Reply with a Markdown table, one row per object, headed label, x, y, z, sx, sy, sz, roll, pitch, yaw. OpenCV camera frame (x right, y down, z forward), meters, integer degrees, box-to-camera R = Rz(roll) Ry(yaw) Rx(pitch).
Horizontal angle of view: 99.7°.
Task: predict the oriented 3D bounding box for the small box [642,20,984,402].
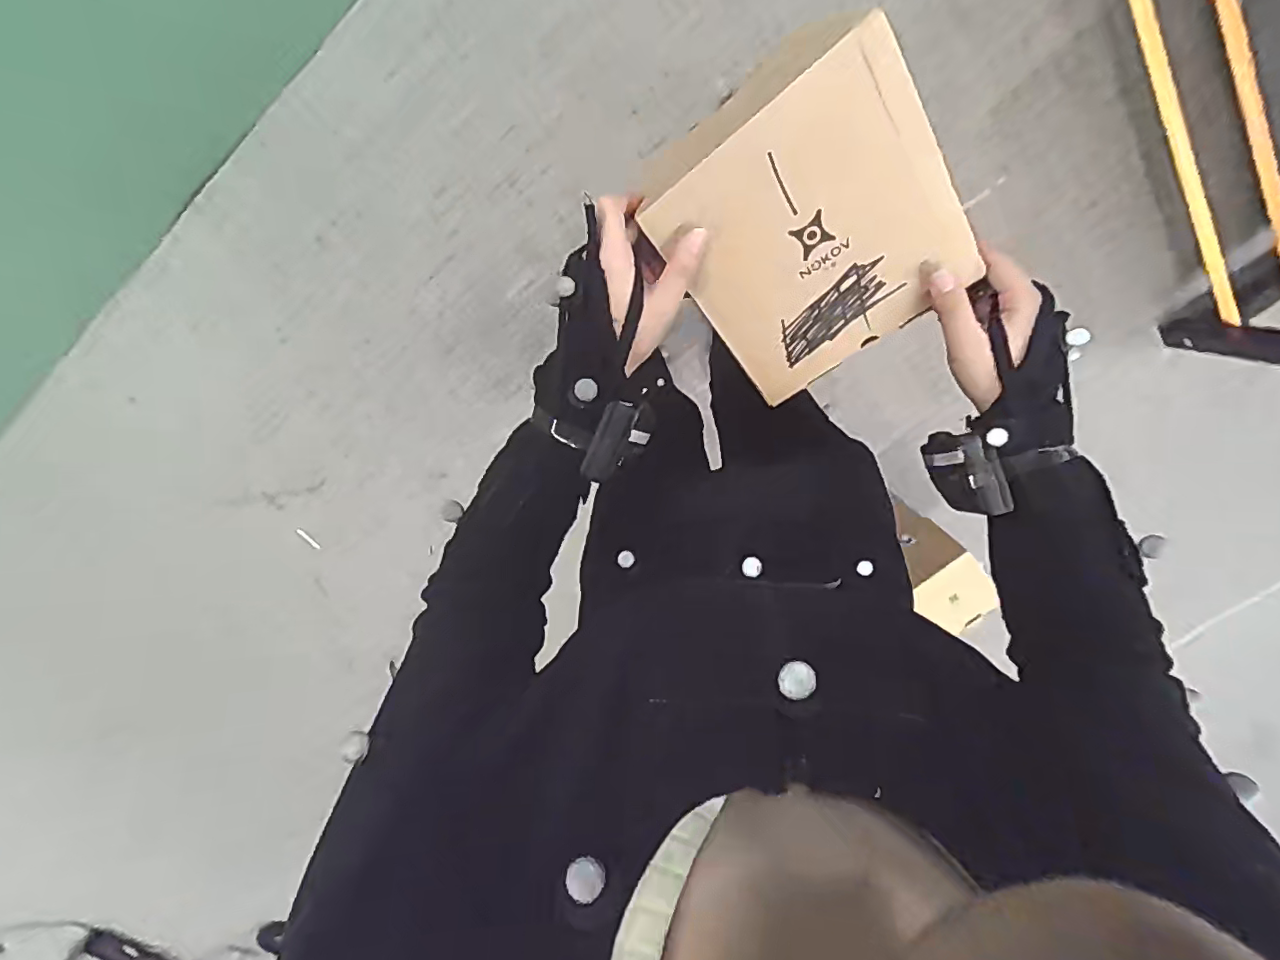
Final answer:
| label | x | y | z | sx | sy | sz | roll | pitch | yaw |
| --- | --- | --- | --- | --- | --- | --- | --- | --- | --- |
| small box | 0.118 | -0.200 | 0.415 | 0.168 | 0.176 | 0.179 | -32 | 121 | 22 |

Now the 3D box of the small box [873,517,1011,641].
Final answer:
| label | x | y | z | sx | sy | sz | roll | pitch | yaw |
| --- | --- | --- | --- | --- | --- | --- | --- | --- | --- |
| small box | 0.661 | 0.213 | 1.202 | 0.168 | 0.176 | 0.179 | -43 | 108 | 12 |

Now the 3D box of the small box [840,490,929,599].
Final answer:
| label | x | y | z | sx | sy | sz | roll | pitch | yaw |
| --- | --- | --- | --- | --- | --- | --- | --- | --- | --- |
| small box | 0.639 | 0.155 | 1.354 | 0.179 | 0.176 | 0.168 | -43 | 108 | 13 |
